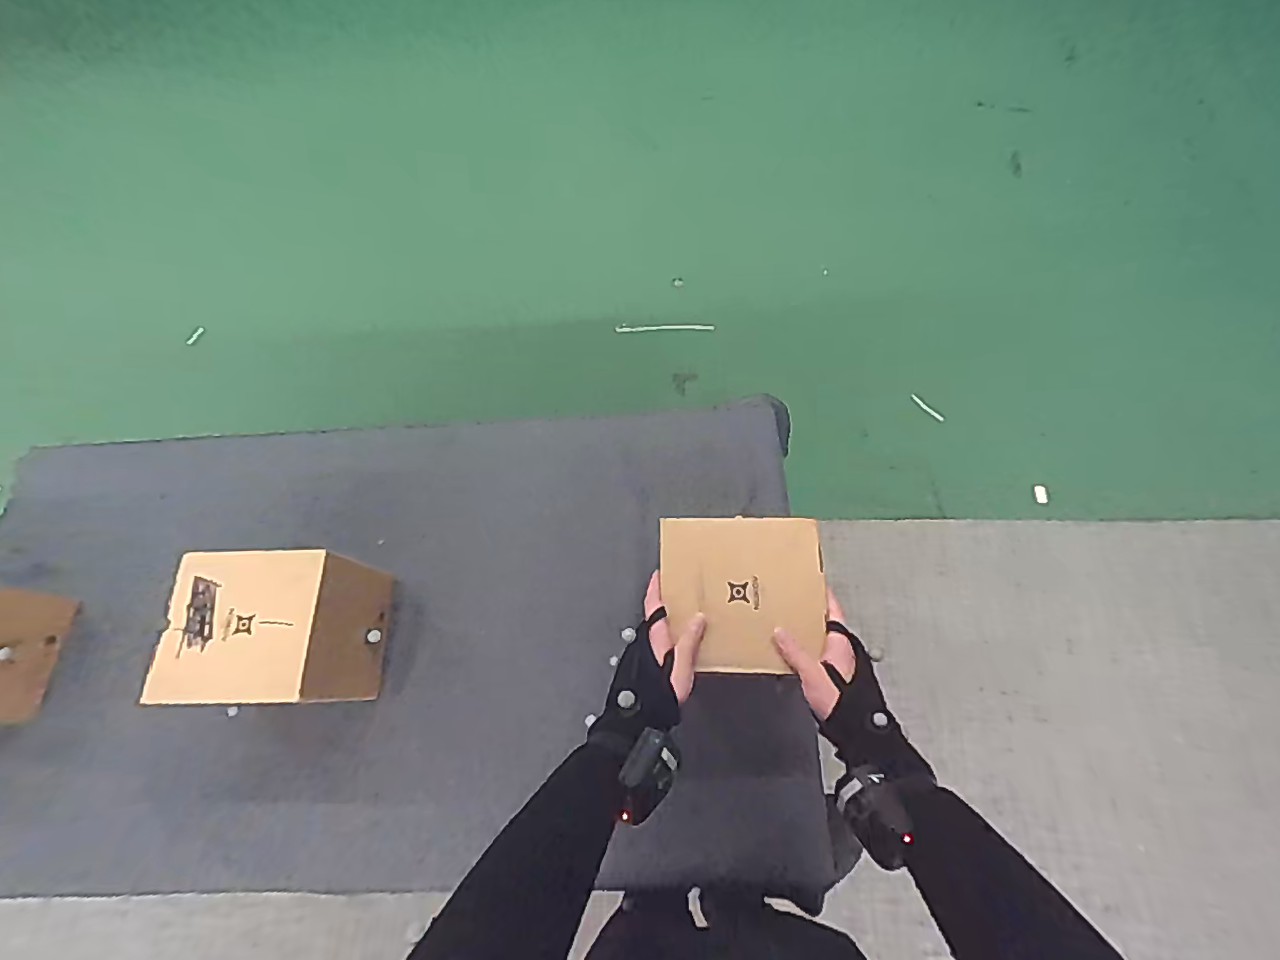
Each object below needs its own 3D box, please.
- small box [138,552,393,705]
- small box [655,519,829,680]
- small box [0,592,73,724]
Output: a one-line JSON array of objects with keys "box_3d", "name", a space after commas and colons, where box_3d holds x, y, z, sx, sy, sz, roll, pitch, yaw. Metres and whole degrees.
[{"box_3d": [-0.440, 0.188, 0.668, 0.179, 0.176, 0.168, -1, 70, 2], "name": "small box"}, {"box_3d": [0.109, 0.147, 0.643, 0.179, 0.176, 0.168, -1, 69, 5], "name": "small box"}, {"box_3d": [-0.906, 0.225, 0.688, 0.179, 0.176, 0.168, 0, 69, 3], "name": "small box"}]
